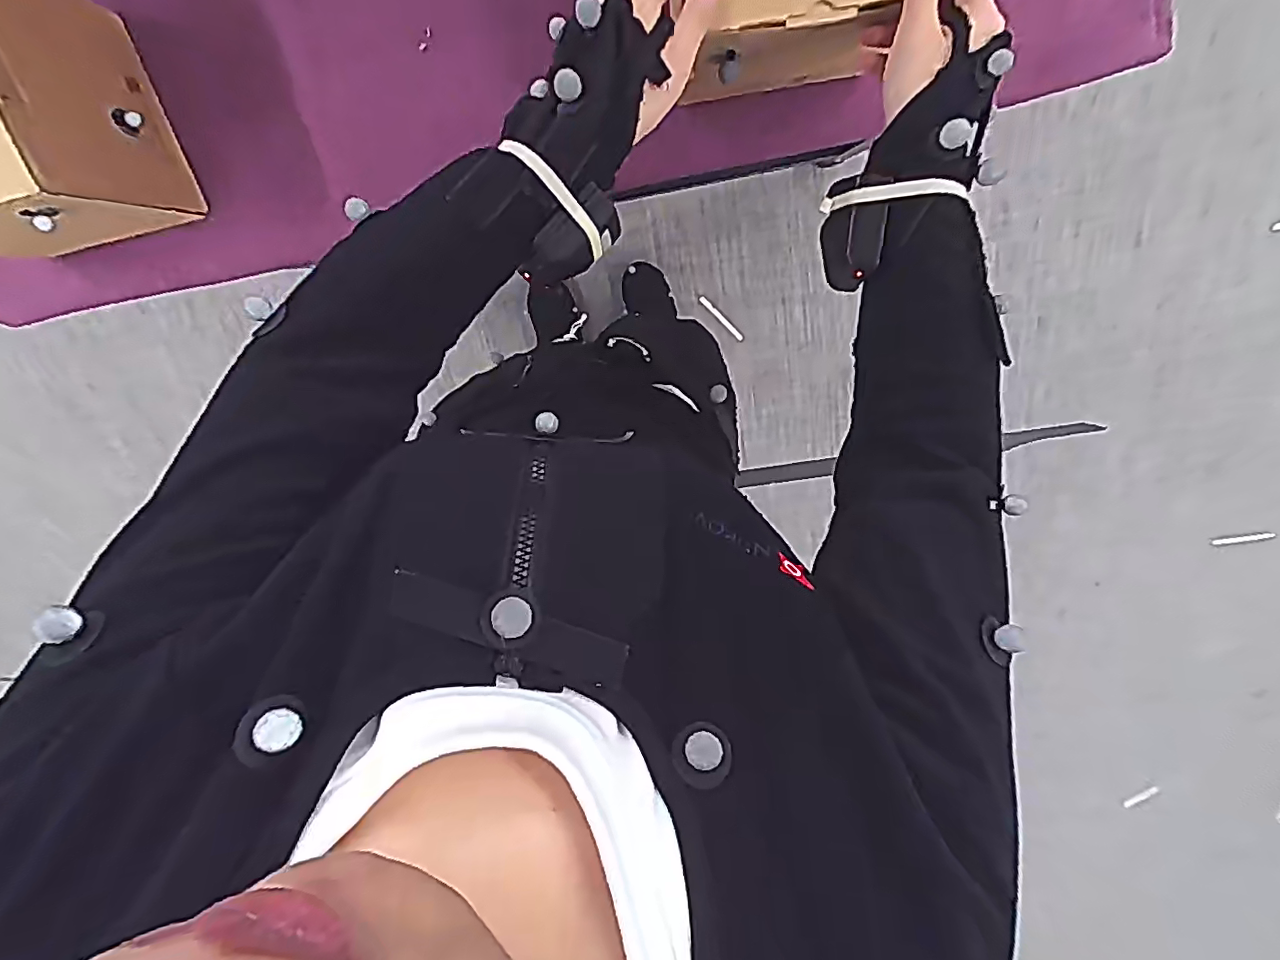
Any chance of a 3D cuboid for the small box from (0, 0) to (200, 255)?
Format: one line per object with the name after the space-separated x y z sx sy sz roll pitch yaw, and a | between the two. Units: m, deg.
-0.529 -0.289 0.439 0.179 0.176 0.168 -13 111 2 | small box
